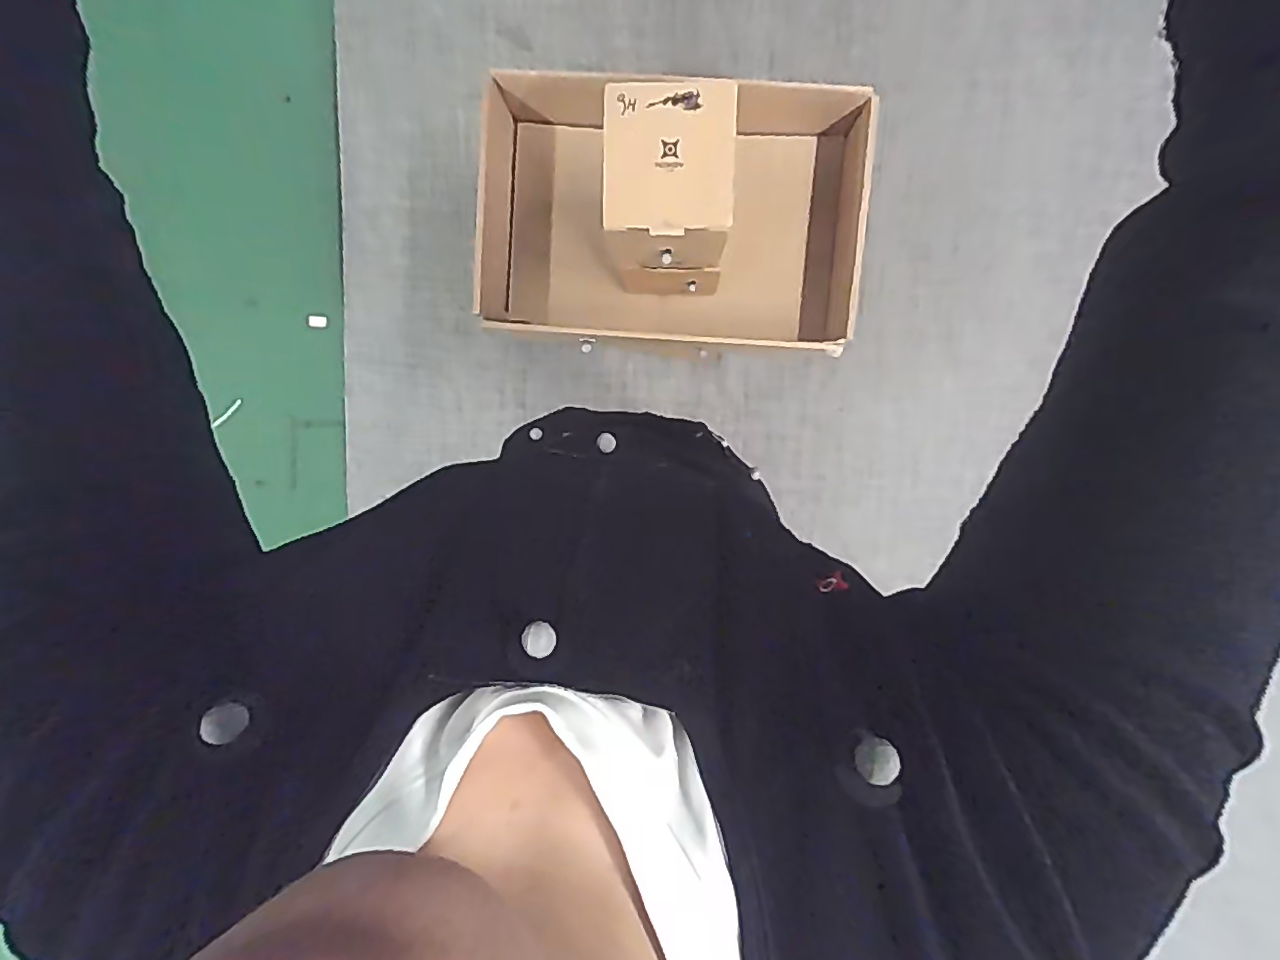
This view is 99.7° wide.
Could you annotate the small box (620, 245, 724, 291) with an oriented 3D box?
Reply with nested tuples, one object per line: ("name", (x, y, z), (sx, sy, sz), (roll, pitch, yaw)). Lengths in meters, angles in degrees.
("small box", (0.057, -0.427, 0.915), (0.168, 0.176, 0.179), (2, 95, 2))

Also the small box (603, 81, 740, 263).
("small box", (0.042, -0.413, 0.753), (0.168, 0.176, 0.179), (2, 97, 2))
